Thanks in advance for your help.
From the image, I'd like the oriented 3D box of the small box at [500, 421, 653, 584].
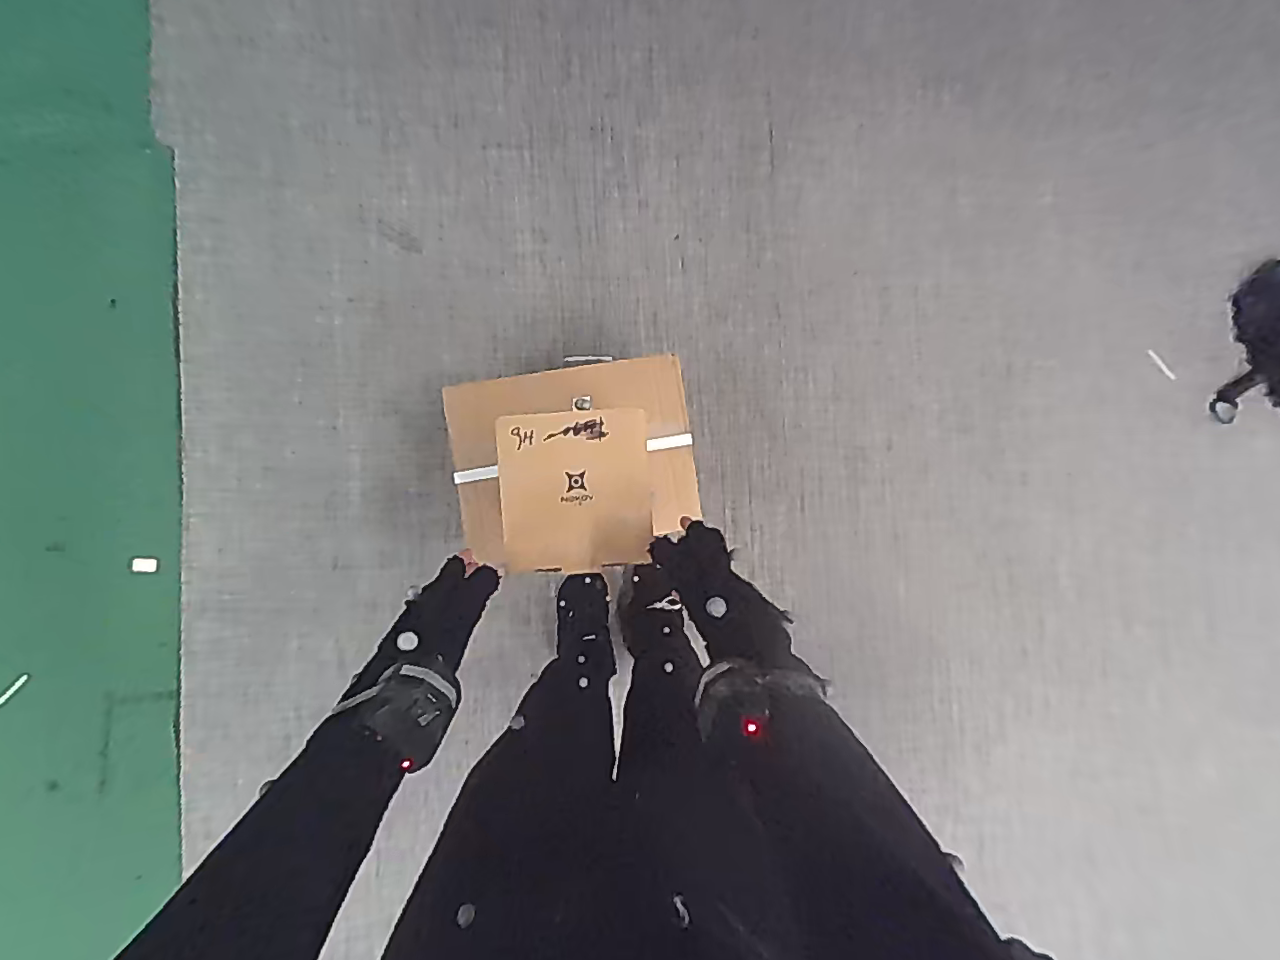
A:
[{"bbox_3d":[-0.075,0.025,0.686,0.168,0.176,0.179,-4,89,-4],"label":"small box"}]
